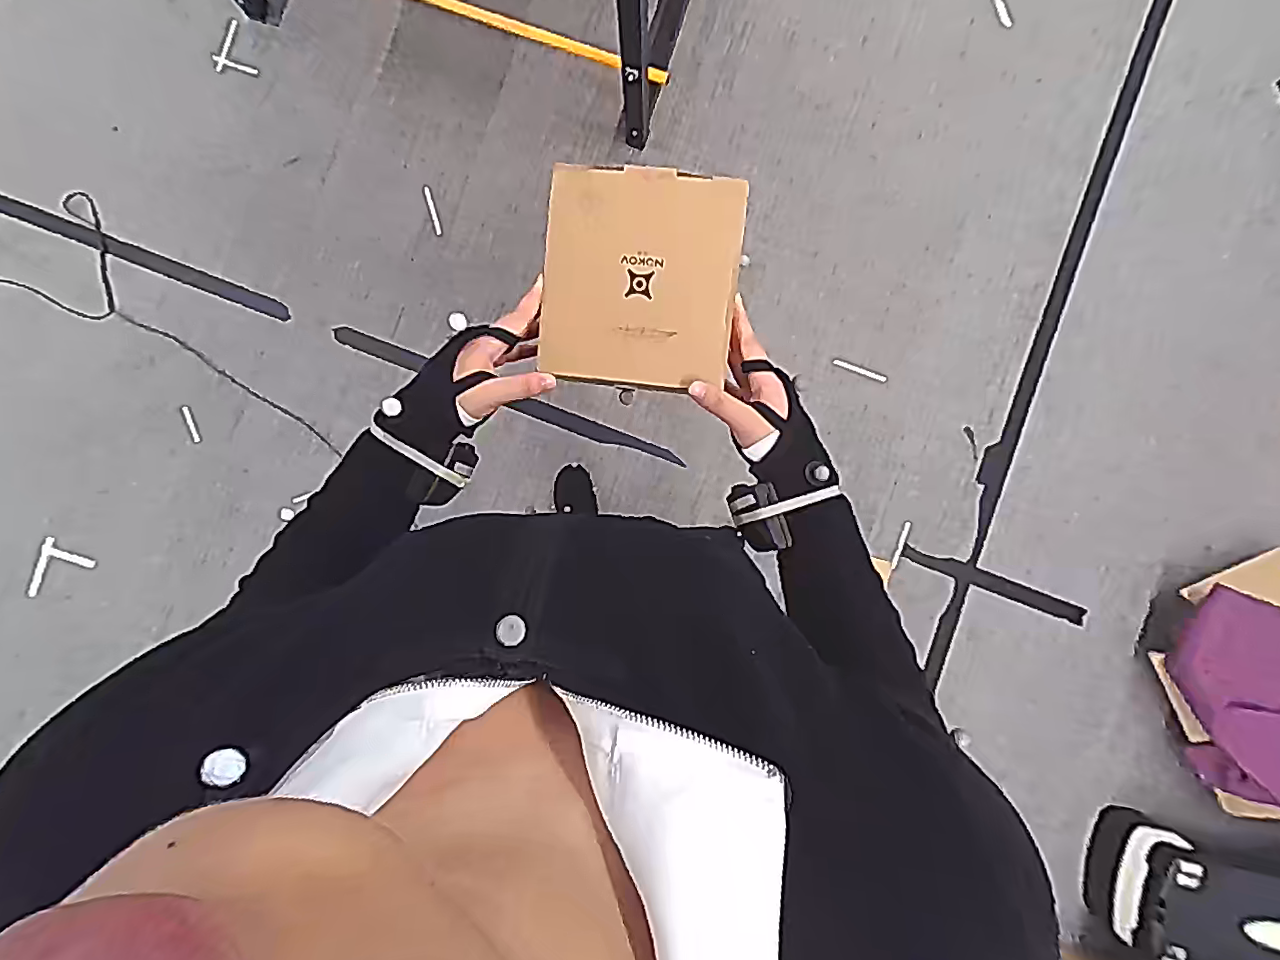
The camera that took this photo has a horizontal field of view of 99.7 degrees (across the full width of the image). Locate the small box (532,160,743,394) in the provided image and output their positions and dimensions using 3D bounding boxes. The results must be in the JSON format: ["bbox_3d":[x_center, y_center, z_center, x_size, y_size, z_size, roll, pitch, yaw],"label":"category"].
[{"bbox_3d":[-0.001,-0.184,0.540,0.168,0.176,0.179,7,99,2],"label":"small box"}]
